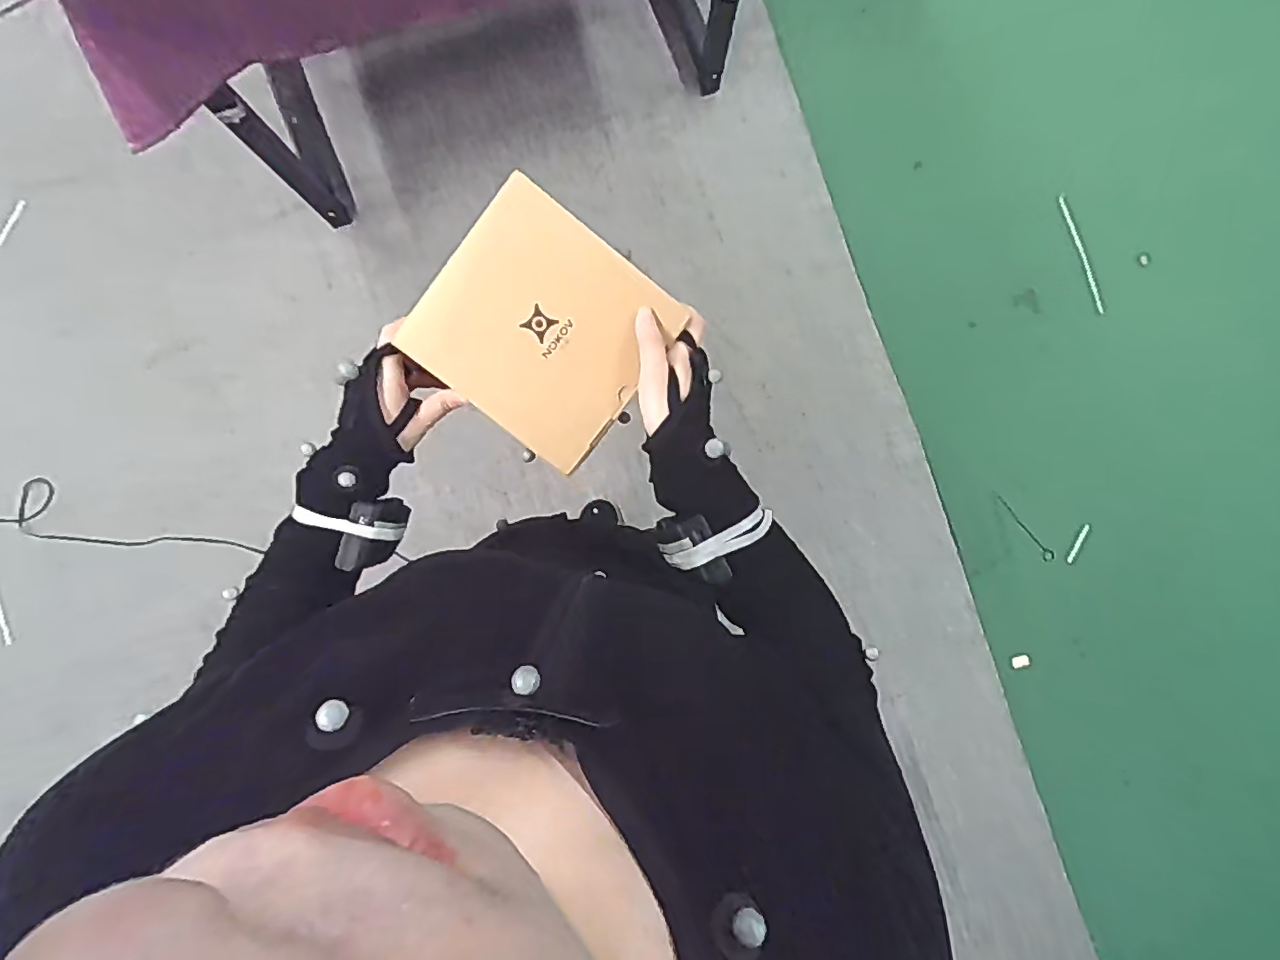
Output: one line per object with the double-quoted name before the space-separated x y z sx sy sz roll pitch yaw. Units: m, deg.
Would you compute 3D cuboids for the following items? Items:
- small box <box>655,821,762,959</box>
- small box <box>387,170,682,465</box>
"small box" 0.130 0.837 1.089 0.168 0.176 0.179 -14 90 -2
"small box" -0.088 -0.132 0.506 0.179 0.176 0.168 38 93 -8
